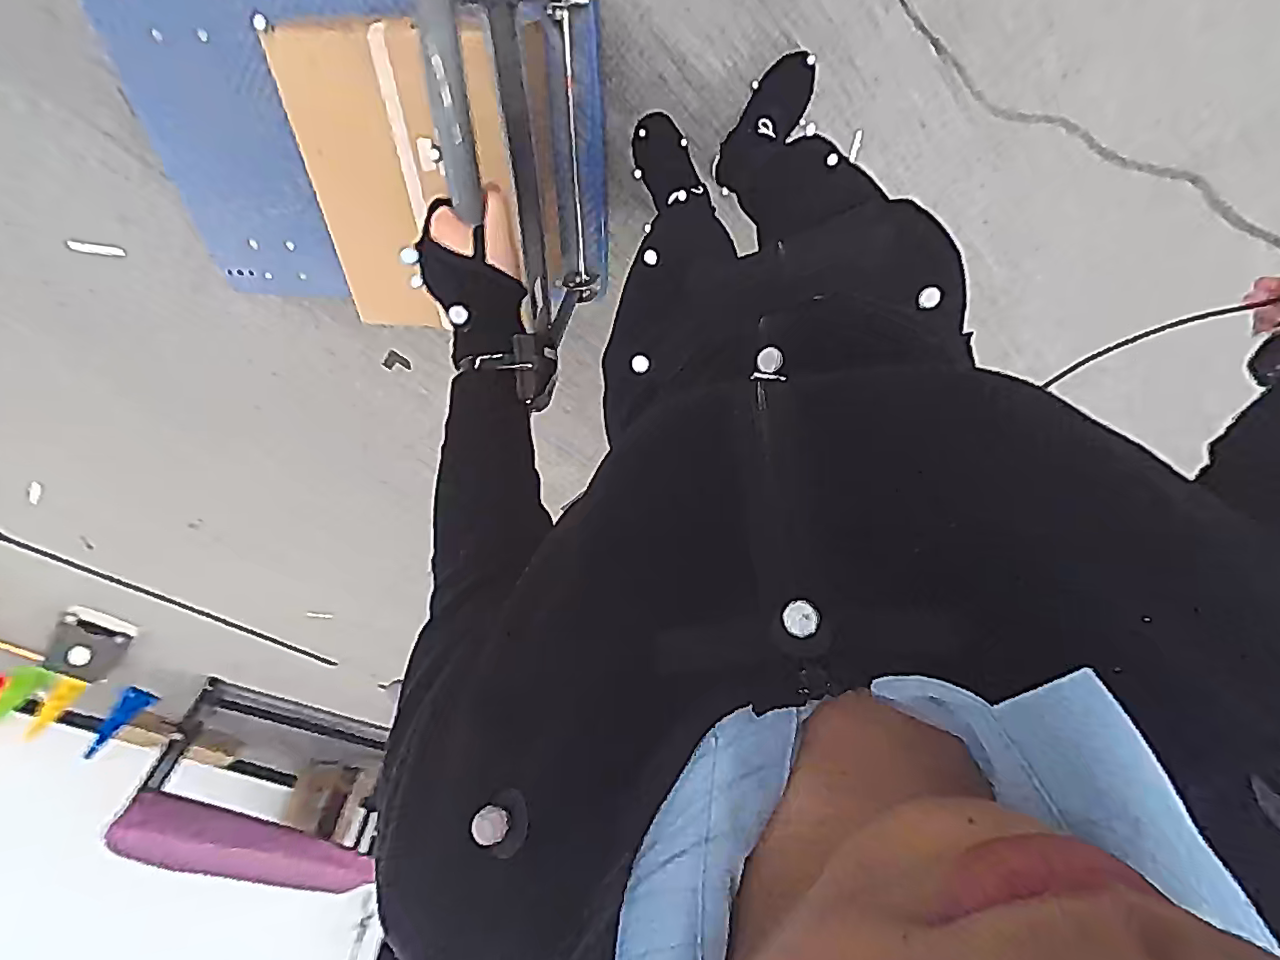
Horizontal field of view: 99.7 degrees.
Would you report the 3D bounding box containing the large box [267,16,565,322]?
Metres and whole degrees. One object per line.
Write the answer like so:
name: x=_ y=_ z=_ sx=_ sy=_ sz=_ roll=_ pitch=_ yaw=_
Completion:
large box: x=-0.319 y=-0.525 z=0.927 sx=0.320 sy=0.320 sz=0.408 roll=2 pitch=132 yaw=1
